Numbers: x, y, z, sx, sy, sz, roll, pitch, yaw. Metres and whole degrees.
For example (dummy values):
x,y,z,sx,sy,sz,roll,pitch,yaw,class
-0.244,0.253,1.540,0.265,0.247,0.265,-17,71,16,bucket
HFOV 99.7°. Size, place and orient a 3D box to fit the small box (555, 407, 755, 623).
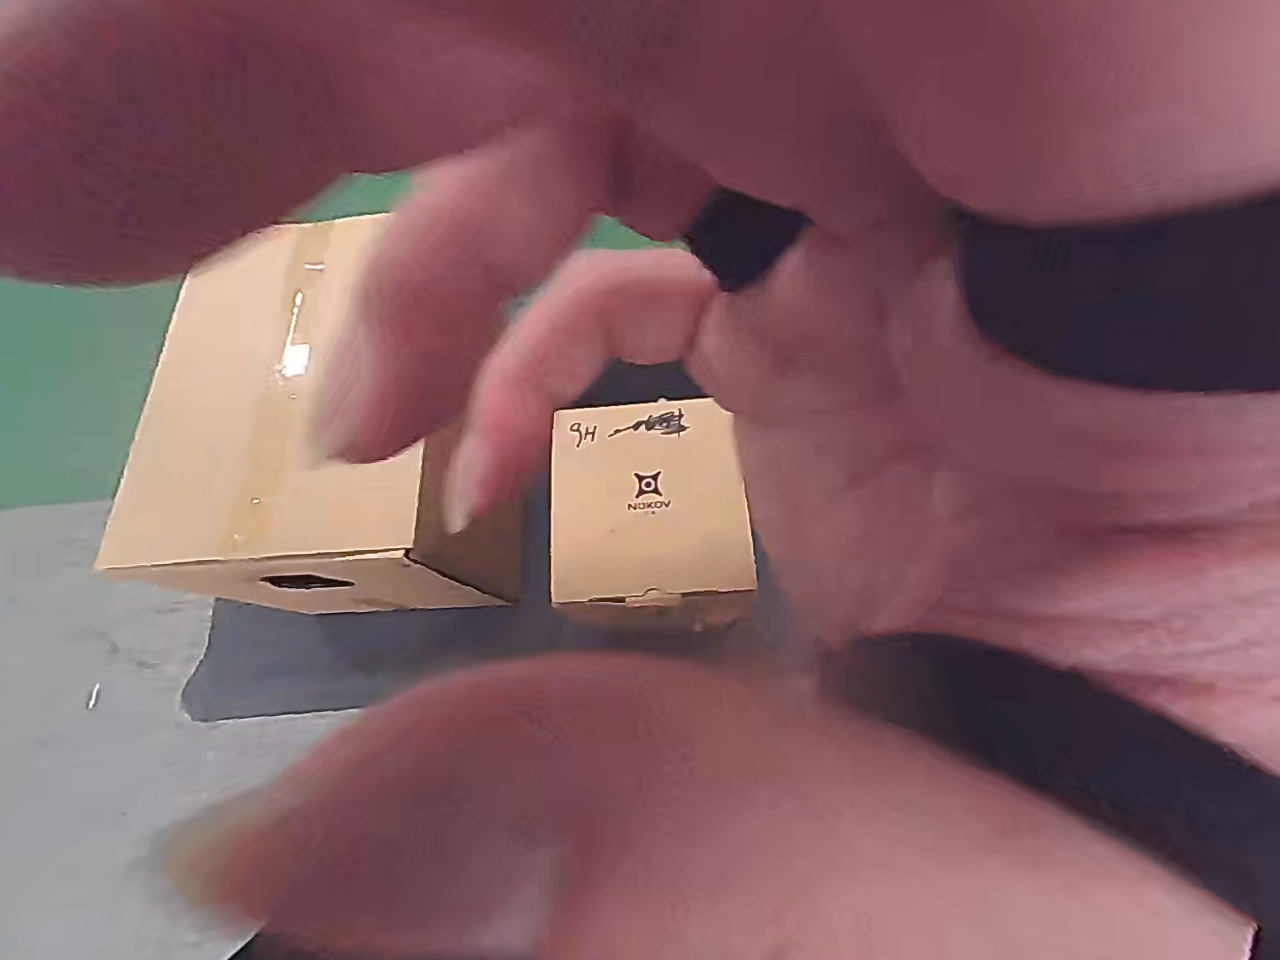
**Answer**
x,y,z,sx,sy,sz,roll,pitch,yaw,class
0.015,0.047,0.536,0.168,0.176,0.179,-4,70,3,small box
